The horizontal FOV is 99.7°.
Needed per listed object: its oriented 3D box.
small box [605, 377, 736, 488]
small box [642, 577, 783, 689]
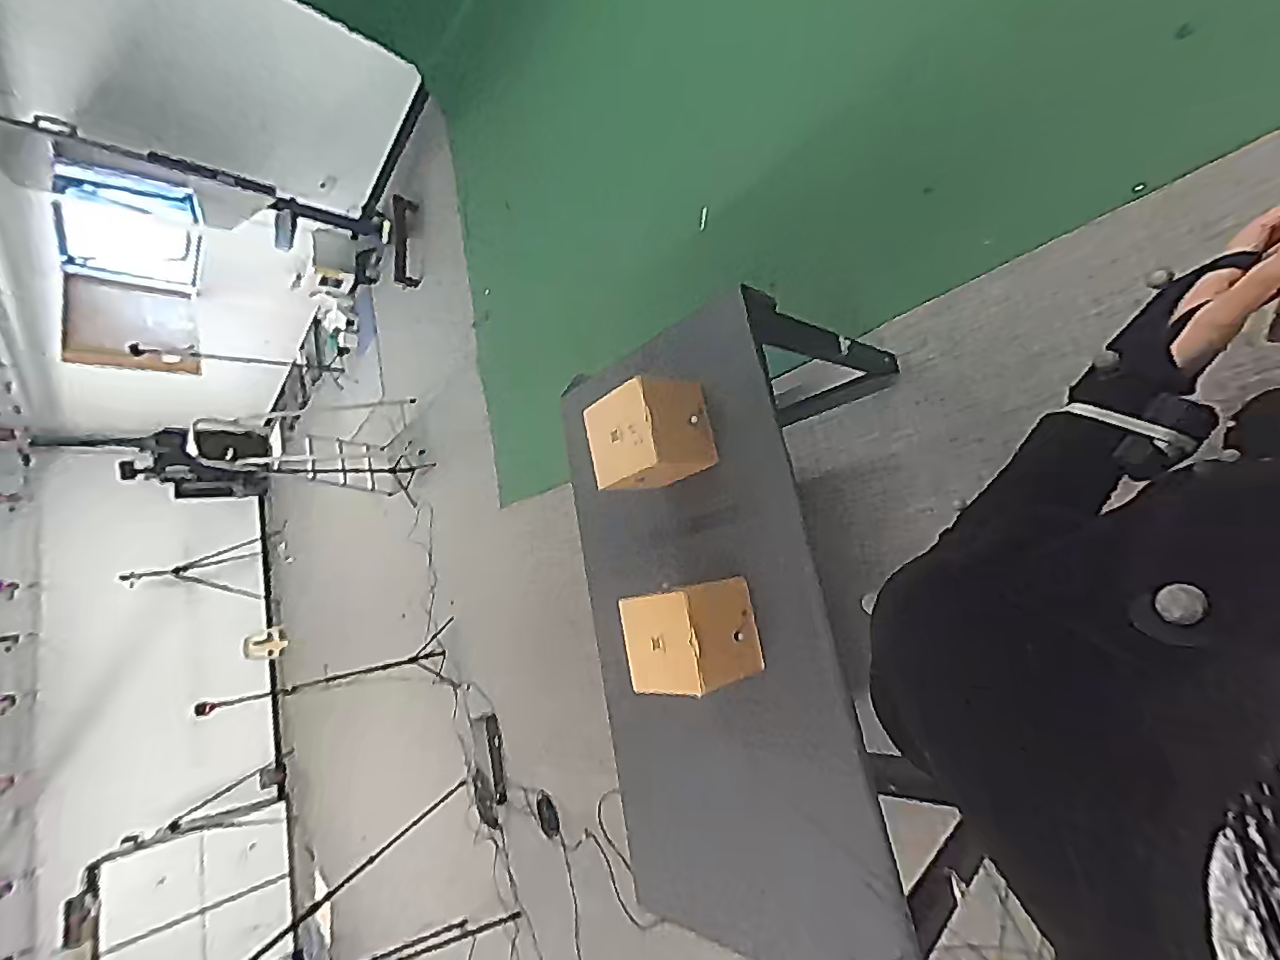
[{"bbox_3d":[0.058,-0.086,1.067,0.179,0.176,0.168,-25,73,47],"label":"small box"},{"bbox_3d":[0.132,0.278,0.995,0.179,0.176,0.168,-23,73,47],"label":"small box"}]
